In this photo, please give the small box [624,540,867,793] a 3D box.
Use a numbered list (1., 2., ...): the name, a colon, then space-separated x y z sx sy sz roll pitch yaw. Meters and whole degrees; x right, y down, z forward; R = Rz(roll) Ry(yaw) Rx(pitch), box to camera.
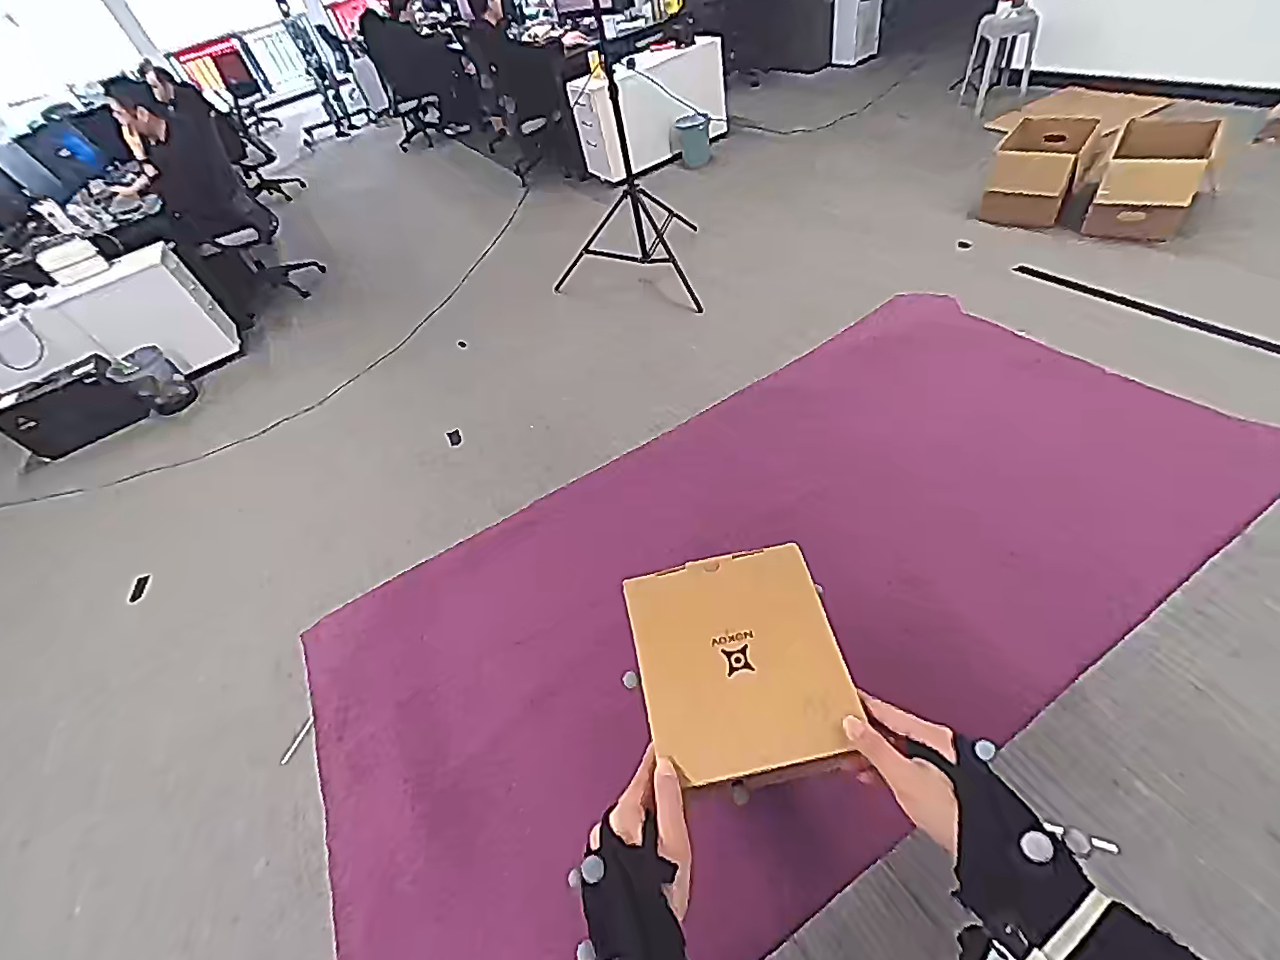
1. small box: 0.089 0.185 0.515 0.168 0.176 0.179 -13 55 0
